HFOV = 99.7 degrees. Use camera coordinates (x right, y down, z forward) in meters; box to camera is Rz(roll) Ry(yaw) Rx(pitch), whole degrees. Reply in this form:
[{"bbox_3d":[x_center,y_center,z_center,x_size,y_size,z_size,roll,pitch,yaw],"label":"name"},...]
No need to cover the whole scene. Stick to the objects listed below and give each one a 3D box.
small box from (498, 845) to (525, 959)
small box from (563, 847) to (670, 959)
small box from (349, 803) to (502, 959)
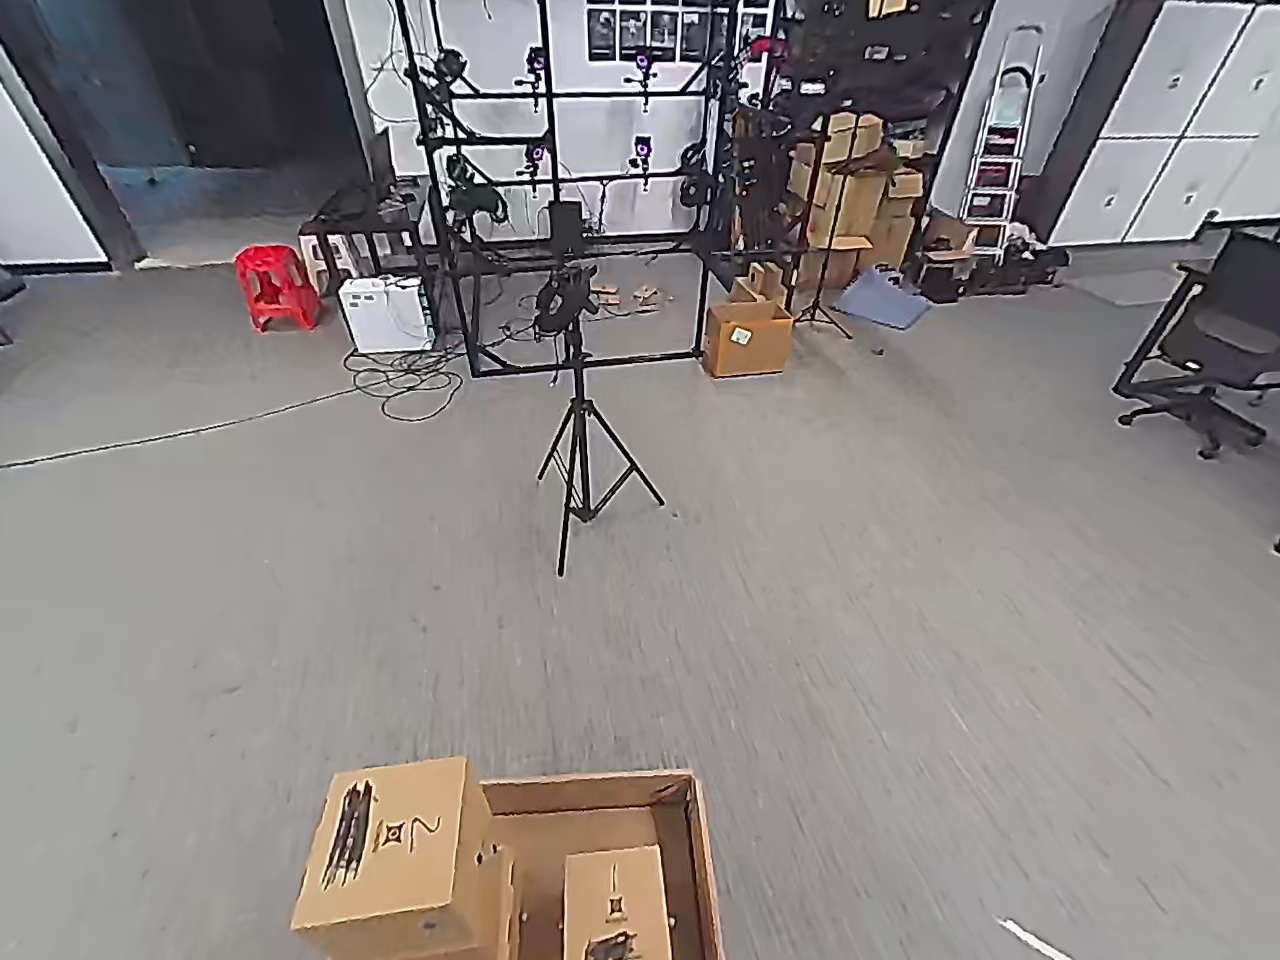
[{"bbox_3d":[-0.296,0.747,0.913,0.179,0.176,0.168,-3,40,-6],"label":"small box"},{"bbox_3d":[-0.040,0.753,0.911,0.168,0.176,0.179,-3,39,-5],"label":"small box"},{"bbox_3d":[-0.303,0.621,0.809,0.168,0.176,0.179,-5,40,-7],"label":"small box"}]
